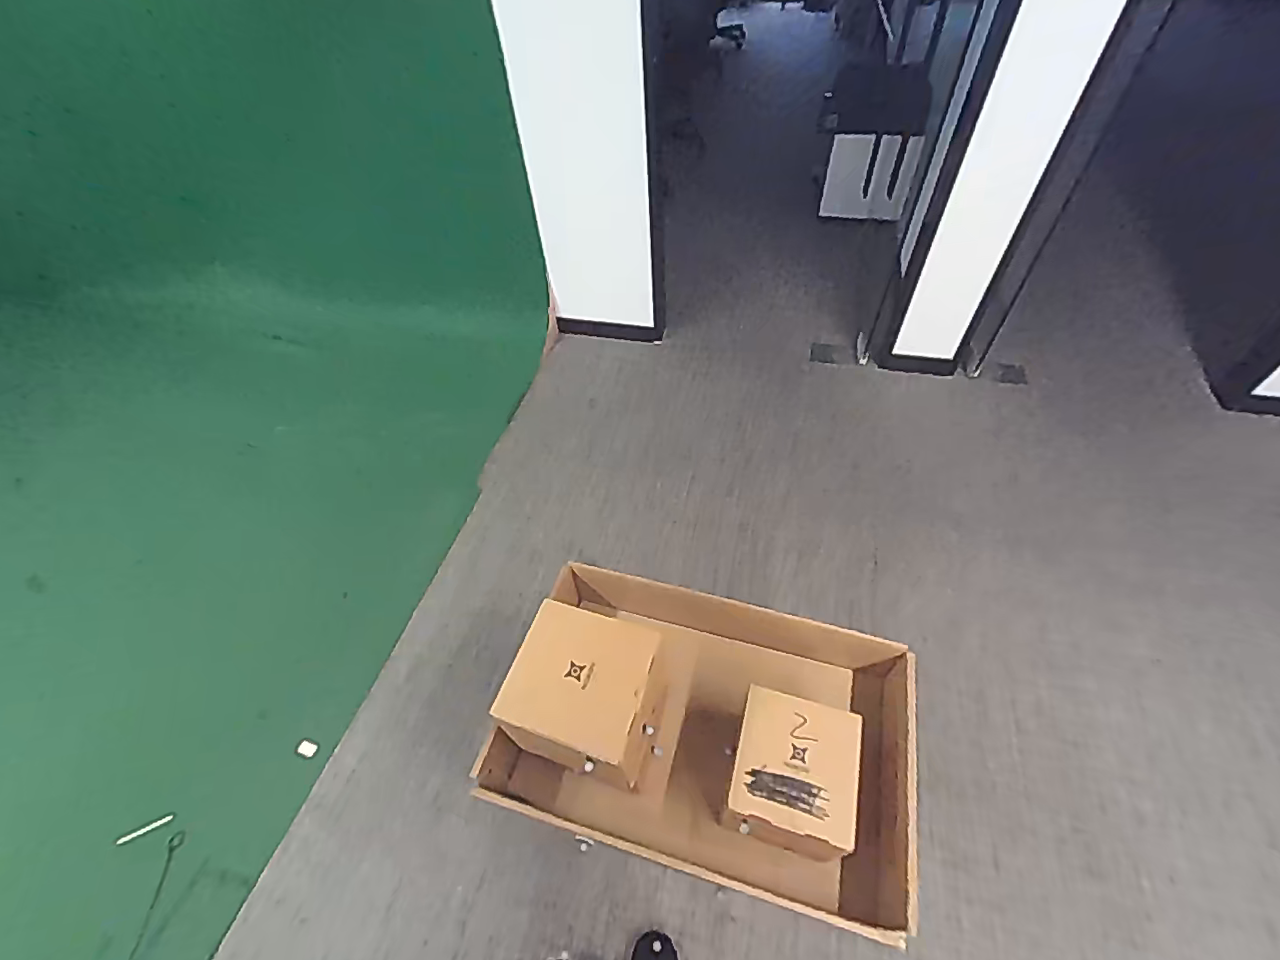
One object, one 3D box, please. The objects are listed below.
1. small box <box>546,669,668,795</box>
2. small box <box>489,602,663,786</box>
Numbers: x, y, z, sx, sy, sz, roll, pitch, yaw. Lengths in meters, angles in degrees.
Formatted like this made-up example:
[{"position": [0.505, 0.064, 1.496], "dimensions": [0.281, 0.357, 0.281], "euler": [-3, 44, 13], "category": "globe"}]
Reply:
[{"position": [-0.059, 0.390, 0.881], "dimensions": [0.179, 0.176, 0.168], "euler": [13, 53, 14], "category": "small box"}, {"position": [-0.075, 0.298, 0.747], "dimensions": [0.179, 0.176, 0.168], "euler": [13, 54, 14], "category": "small box"}]
